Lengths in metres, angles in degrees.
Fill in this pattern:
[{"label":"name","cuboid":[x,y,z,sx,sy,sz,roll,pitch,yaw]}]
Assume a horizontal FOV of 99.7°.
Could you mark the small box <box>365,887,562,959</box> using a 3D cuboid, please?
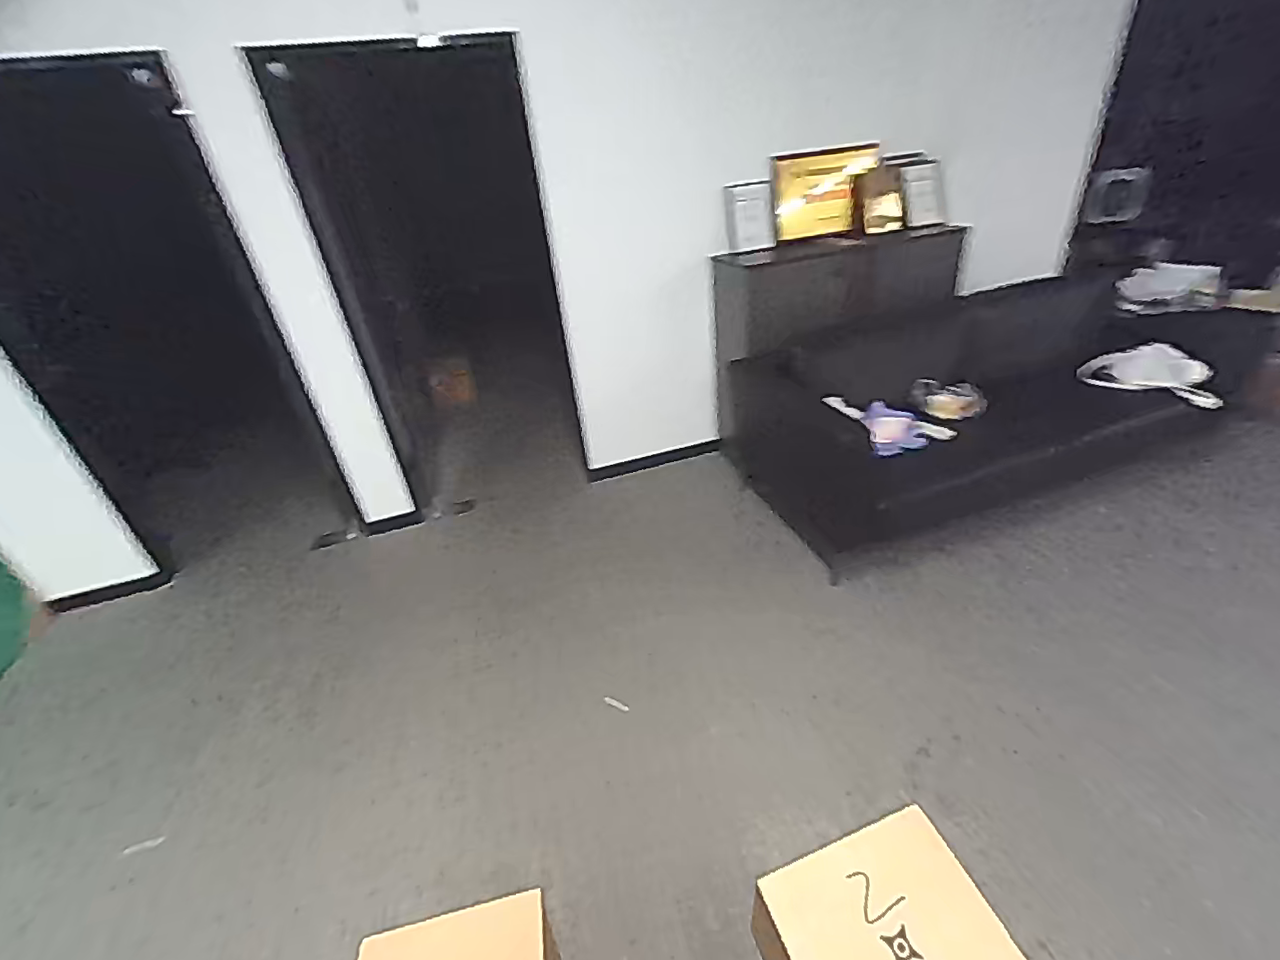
[{"label":"small box","cuboid":[-0.146,0.509,0.464,0.168,0.176,0.179,-9,24,-8]}]
